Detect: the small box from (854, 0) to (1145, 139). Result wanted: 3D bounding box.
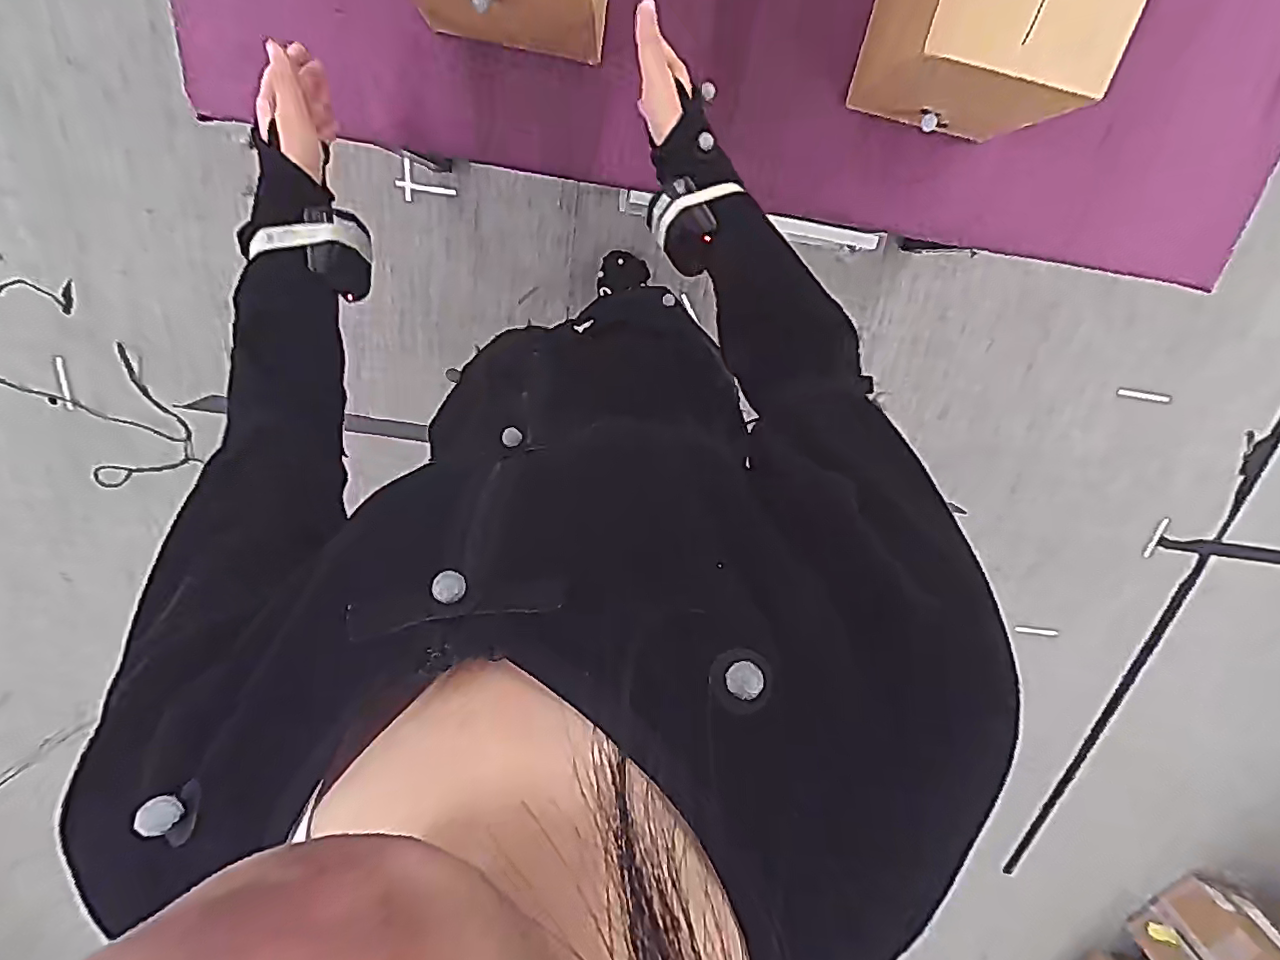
[{"bbox_3d":[0.322,-0.442,0.491,0.168,0.176,0.179,10,111,-6],"label":"small box"}]
